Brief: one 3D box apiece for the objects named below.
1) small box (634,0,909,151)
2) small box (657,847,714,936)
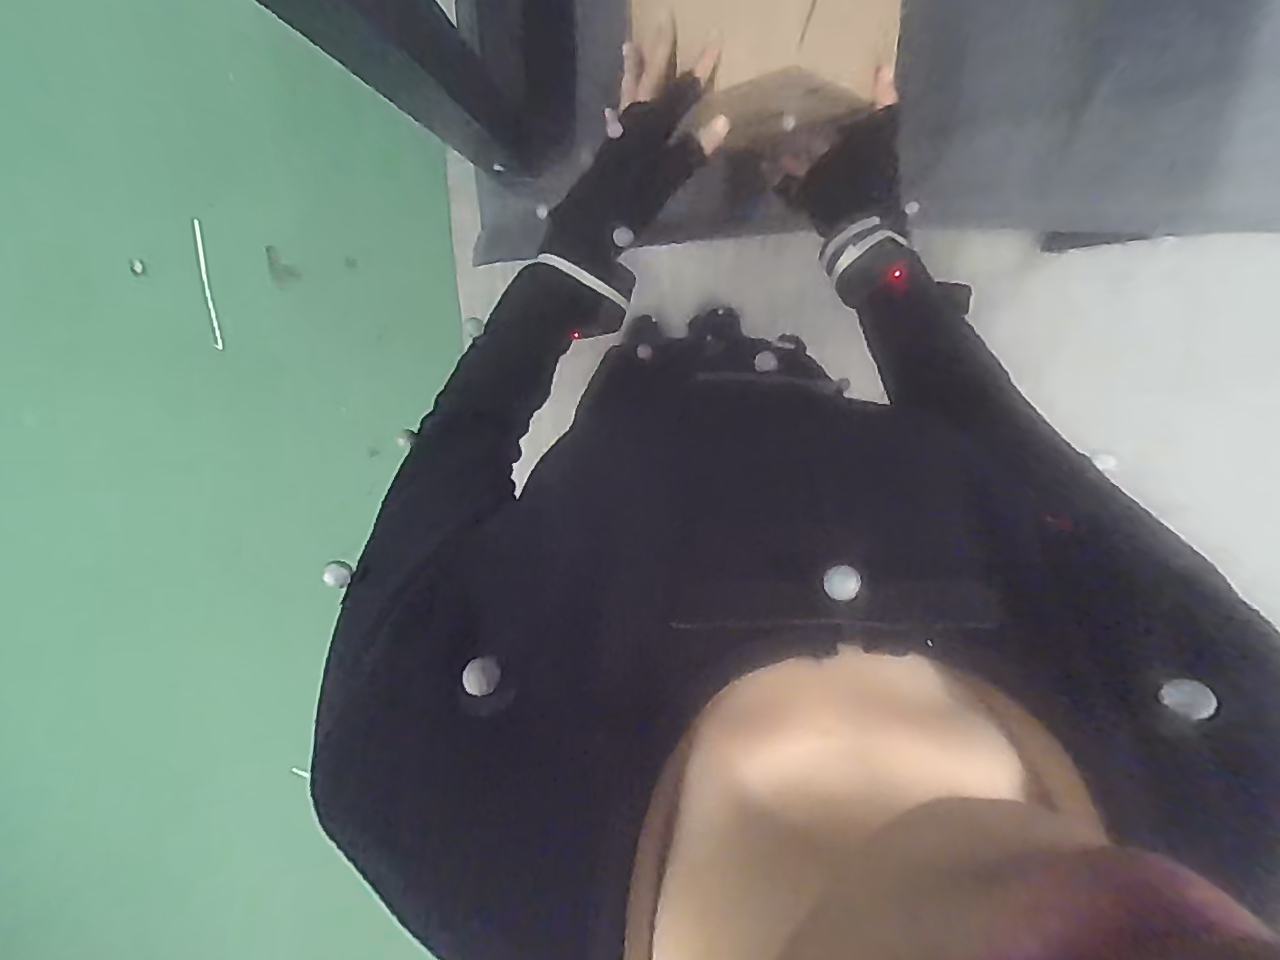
[{"bbox_3d":[0.111,-0.406,0.451,0.176,0.168,0.179,11,112,46],"label":"small box"},{"bbox_3d":[0.153,1.406,1.855,0.168,0.176,0.179,9,108,0],"label":"small box"}]
